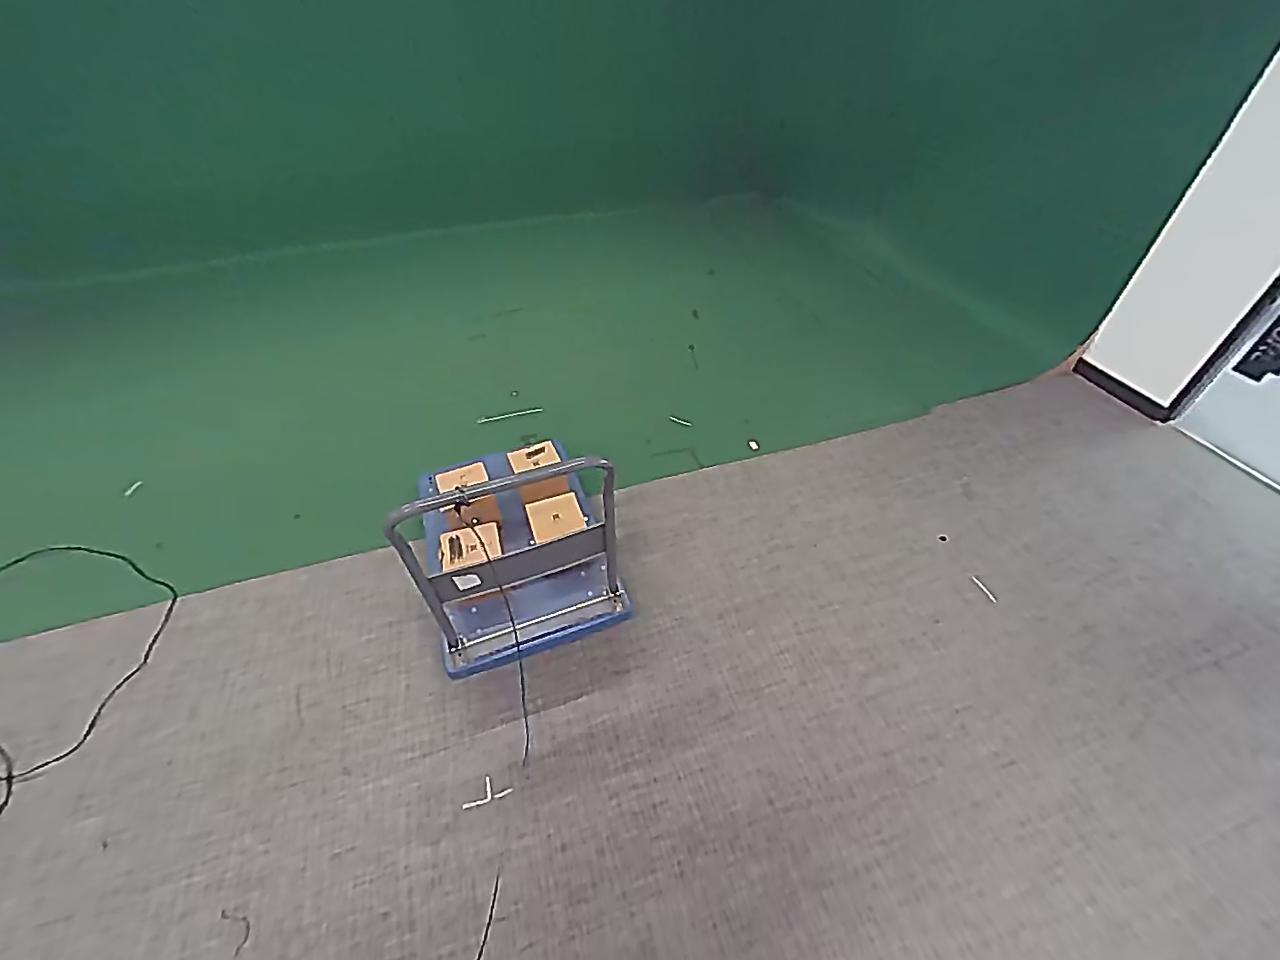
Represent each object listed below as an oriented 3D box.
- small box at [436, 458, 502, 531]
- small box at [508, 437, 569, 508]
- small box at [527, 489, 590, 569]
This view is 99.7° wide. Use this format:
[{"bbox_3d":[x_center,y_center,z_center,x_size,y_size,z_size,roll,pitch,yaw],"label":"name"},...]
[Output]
[{"bbox_3d":[-0.590,0.058,1.875,0.168,0.176,0.179,-18,48,-17],"label":"small box"},{"bbox_3d":[-0.361,-0.020,1.947,0.168,0.176,0.179,-19,50,-16],"label":"small box"},{"bbox_3d":[-0.266,0.161,1.772,0.168,0.176,0.179,-15,49,-13],"label":"small box"}]
